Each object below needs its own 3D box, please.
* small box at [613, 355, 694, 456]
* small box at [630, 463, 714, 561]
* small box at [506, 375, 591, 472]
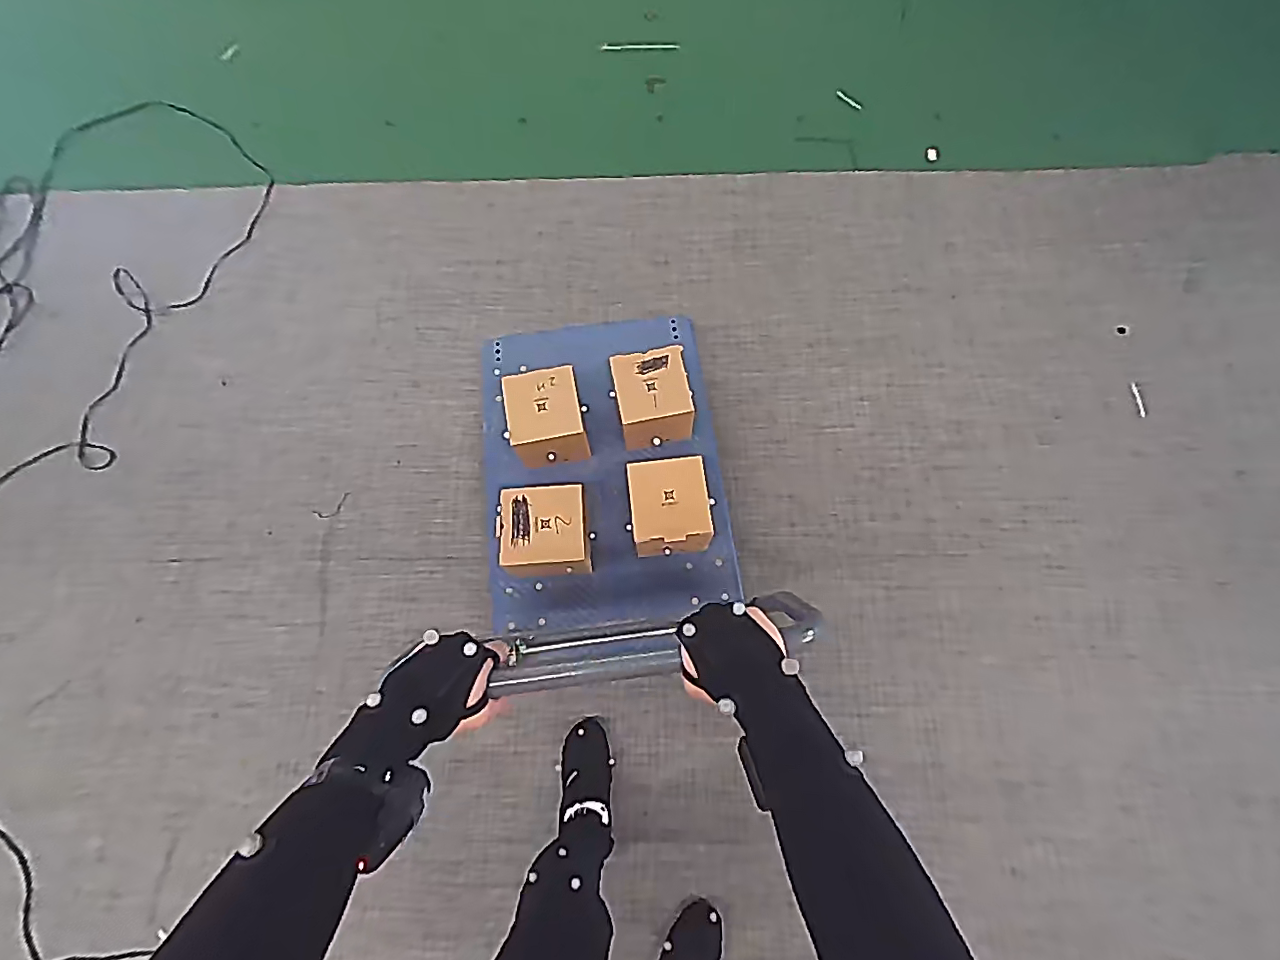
[{"bbox_3d":[0.030,-0.178,1.322,0.168,0.176,0.179,-11,72,-1],"label":"small box"},{"bbox_3d":[0.066,0.077,1.236,0.168,0.176,0.179,-7,71,-1],"label":"small box"},{"bbox_3d":[-0.216,-0.128,1.311,0.168,0.176,0.179,-11,71,-3],"label":"small box"}]
